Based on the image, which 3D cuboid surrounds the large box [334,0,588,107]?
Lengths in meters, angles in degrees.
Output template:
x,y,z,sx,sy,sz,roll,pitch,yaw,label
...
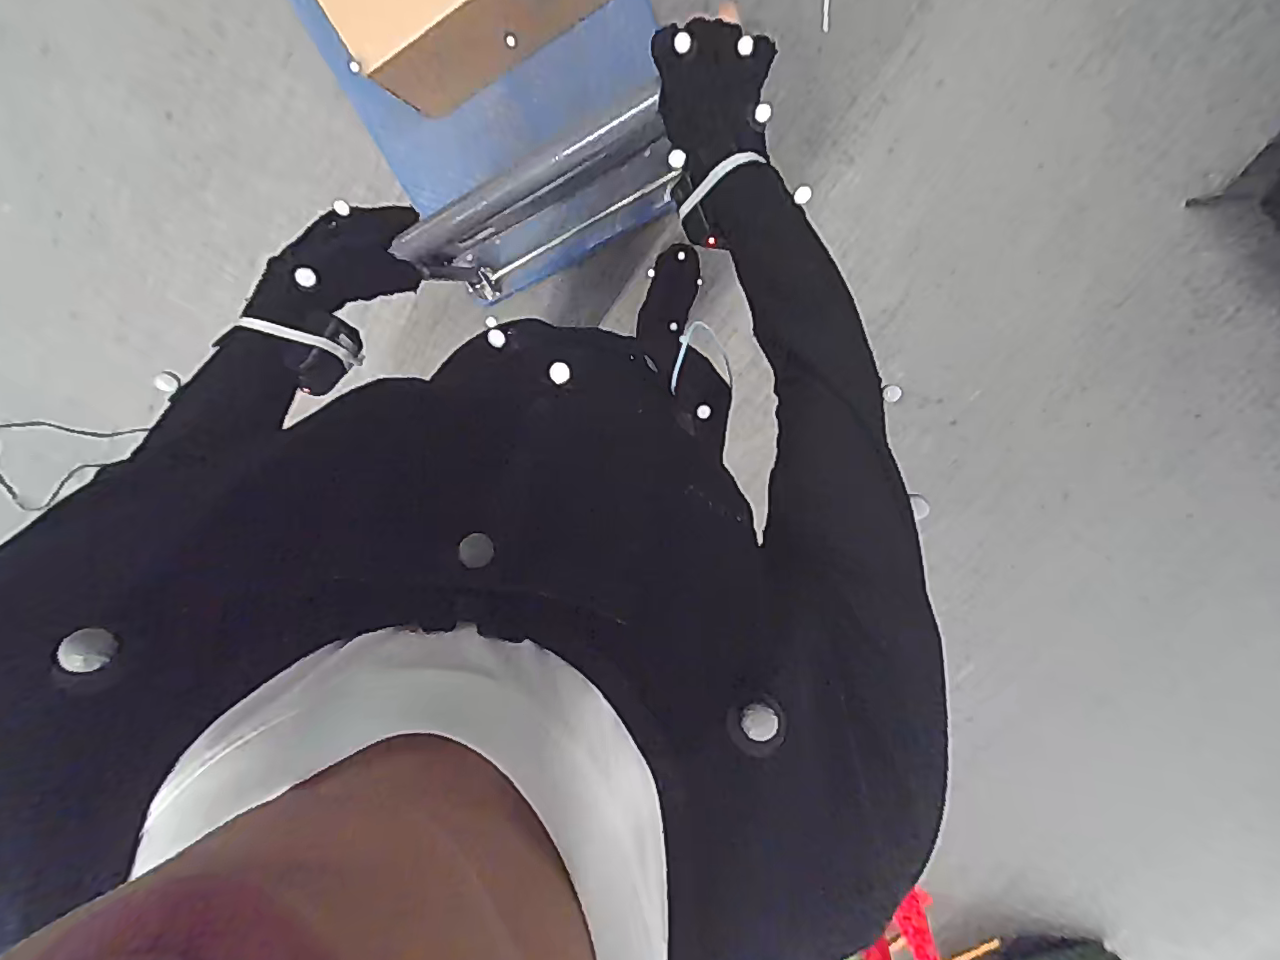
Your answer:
x,y,z,sx,sy,sz,roll,pitch,yaw,label
-0.281,-0.859,0.811,0.408,0.320,0.320,-28,111,11,large box
